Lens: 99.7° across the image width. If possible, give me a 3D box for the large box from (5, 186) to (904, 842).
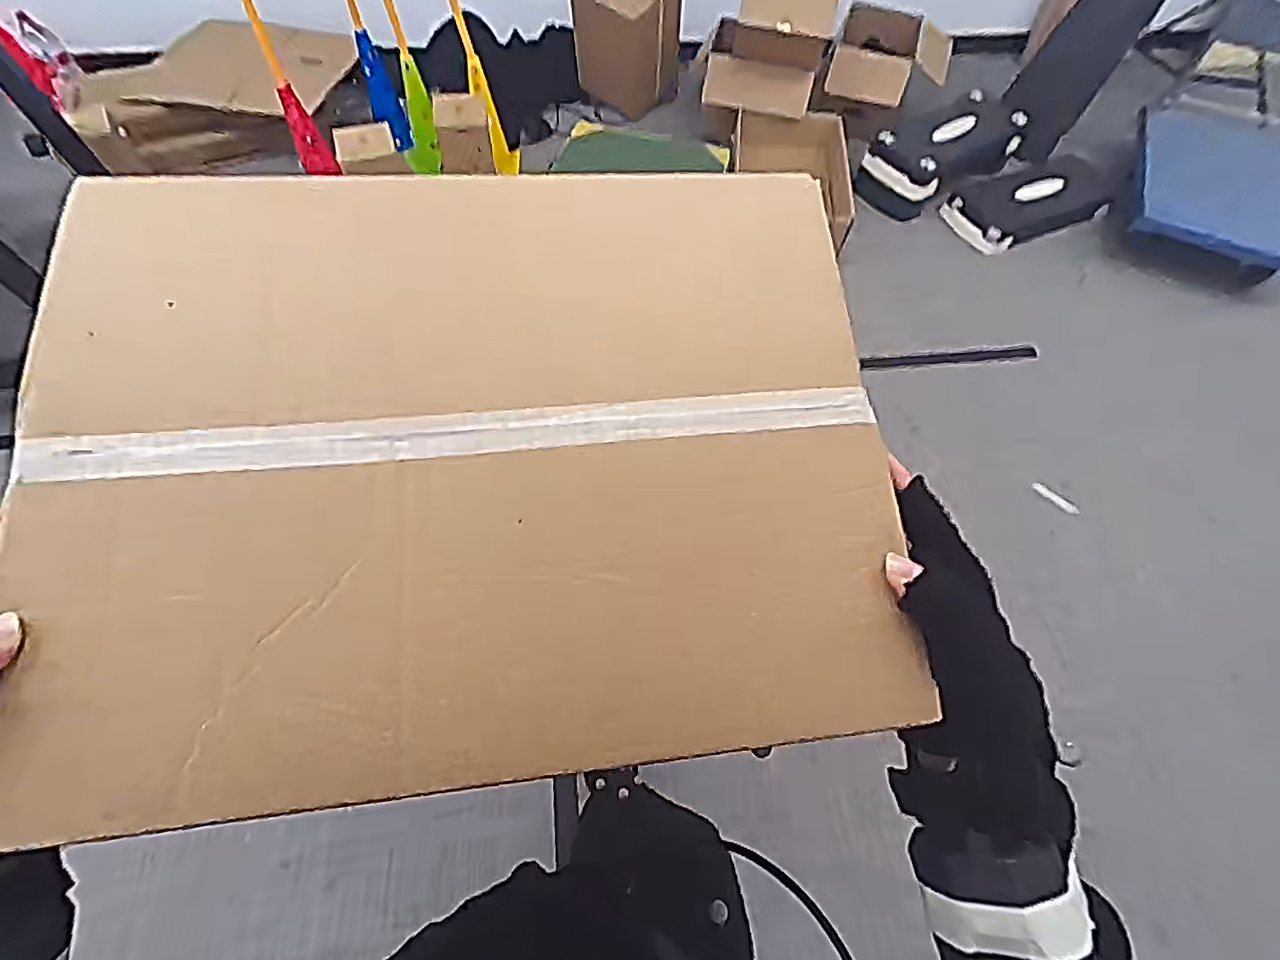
[{"bbox_3d":[-0.093,0.019,0.422,0.408,0.320,0.320,-5,75,-7],"label":"large box"}]
